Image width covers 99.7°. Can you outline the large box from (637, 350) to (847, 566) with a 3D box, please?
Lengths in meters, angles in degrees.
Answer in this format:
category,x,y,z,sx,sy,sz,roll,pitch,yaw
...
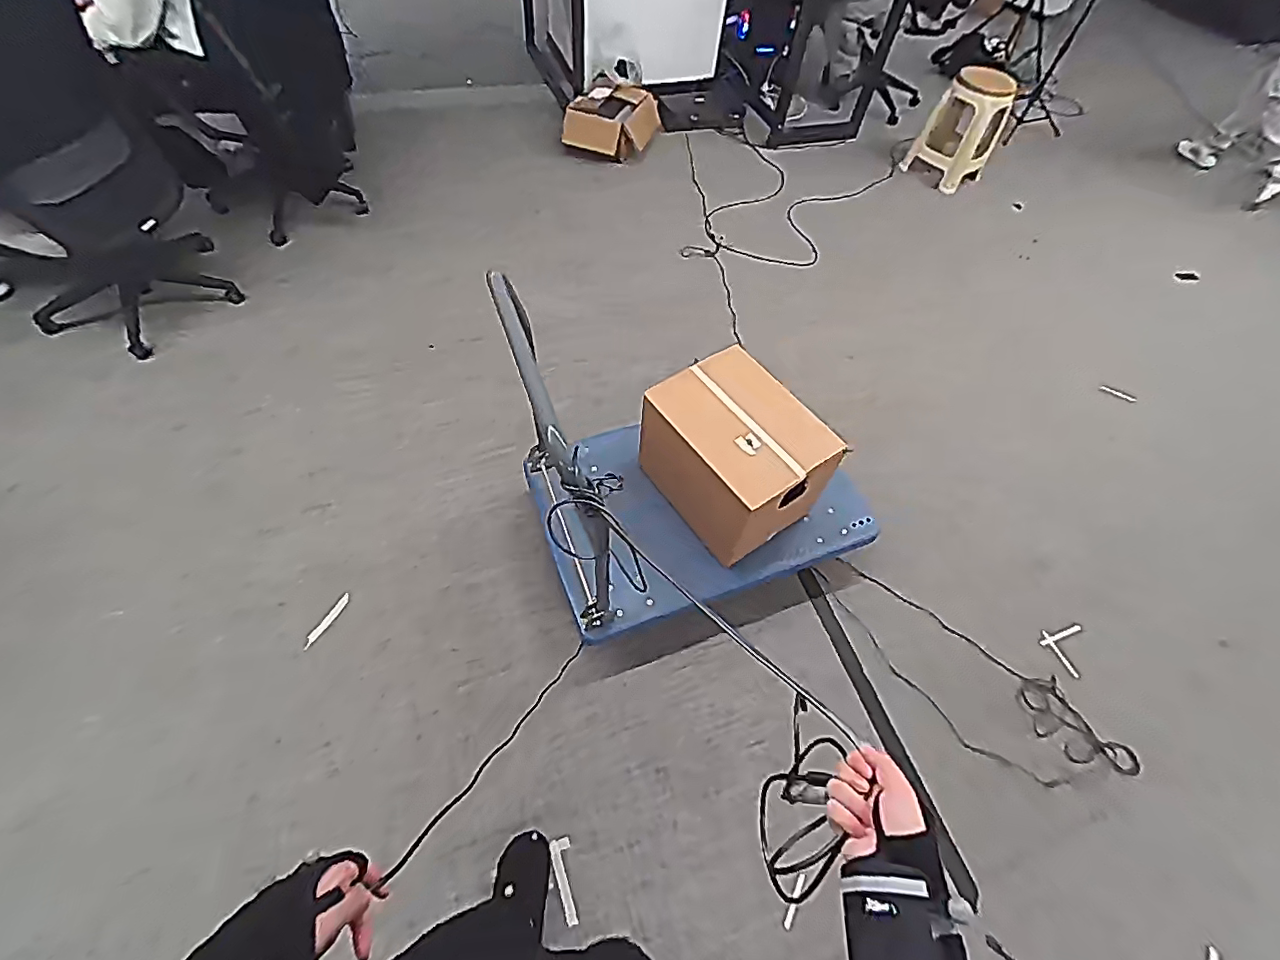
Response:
category,x,y,z,sx,sy,sz,roll,pitch,yaw
large box,0.237,-0.058,1.413,0.320,0.320,0.408,-30,65,-20
